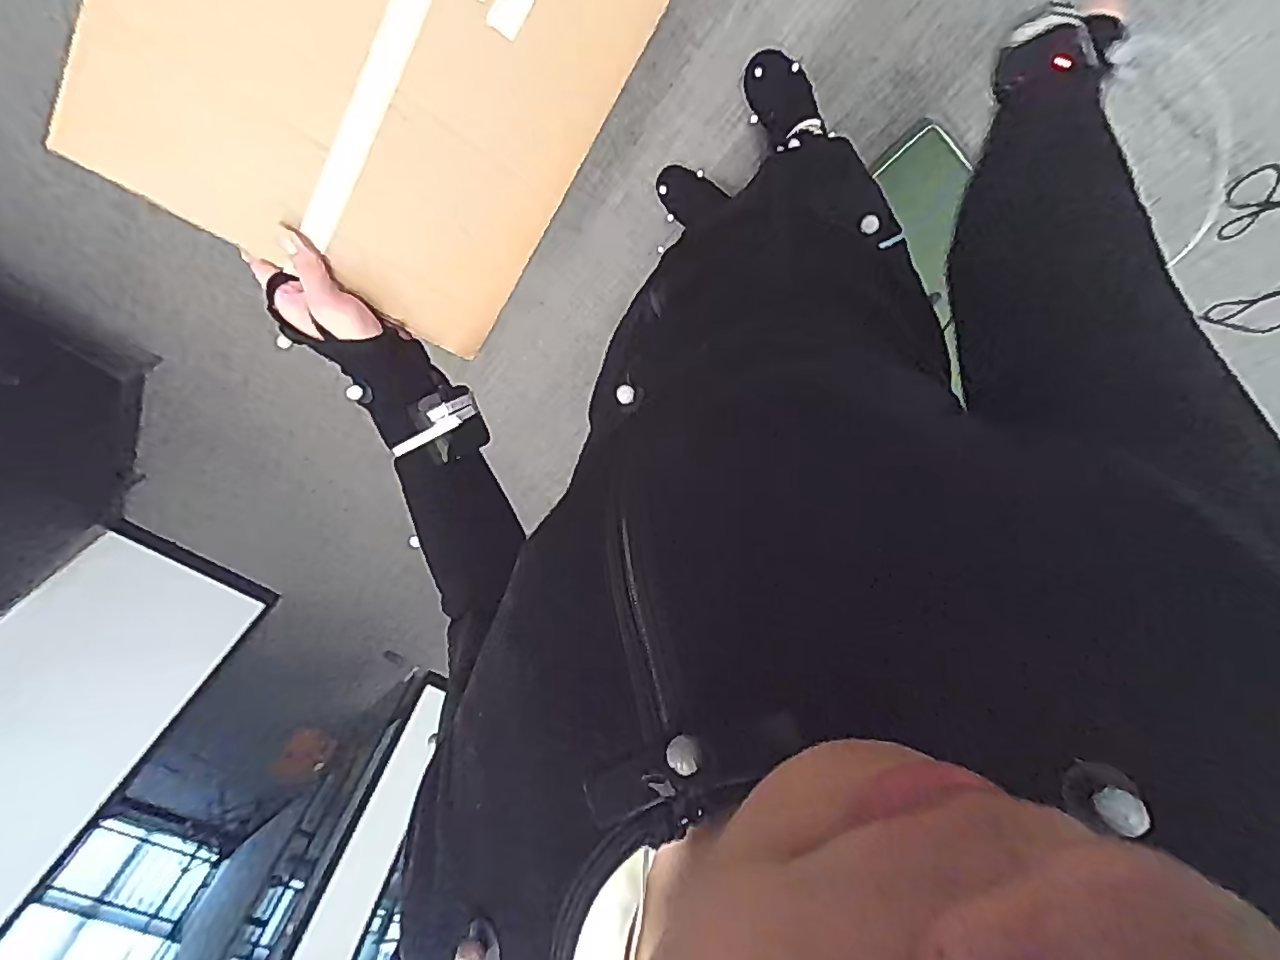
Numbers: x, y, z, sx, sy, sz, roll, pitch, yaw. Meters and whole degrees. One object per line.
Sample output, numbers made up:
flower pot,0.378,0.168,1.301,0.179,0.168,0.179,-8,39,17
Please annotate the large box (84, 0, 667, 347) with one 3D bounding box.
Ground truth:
large box,-0.218,-0.409,0.534,0.320,0.320,0.408,26,105,-30
